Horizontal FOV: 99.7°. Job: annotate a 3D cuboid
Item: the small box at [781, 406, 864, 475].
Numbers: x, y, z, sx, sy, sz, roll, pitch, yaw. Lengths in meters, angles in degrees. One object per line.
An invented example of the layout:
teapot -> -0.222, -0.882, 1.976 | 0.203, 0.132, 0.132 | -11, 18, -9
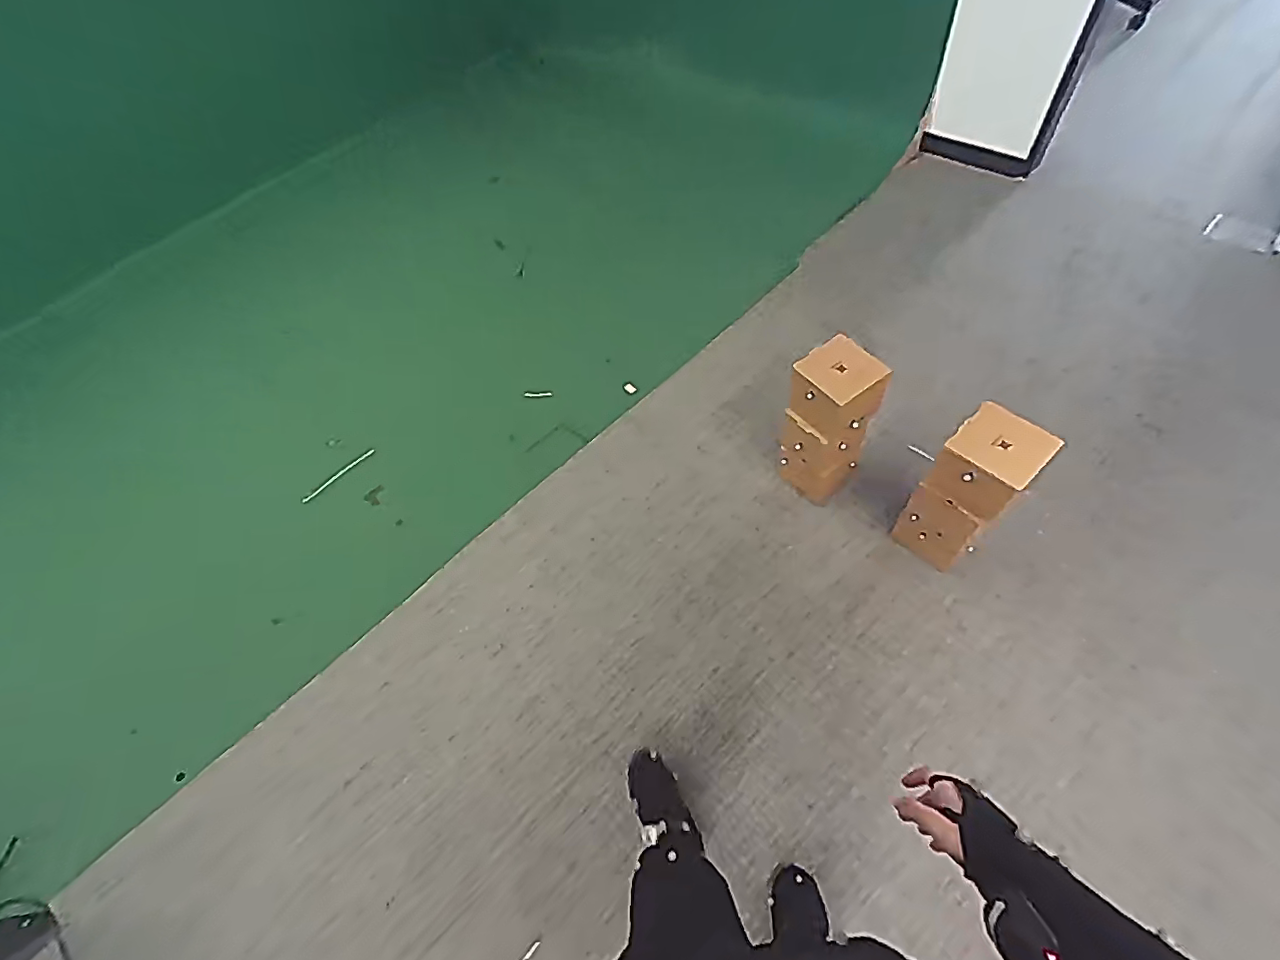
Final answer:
small box -> 0.527, -0.146, 1.557 | 0.179, 0.176, 0.168 | -35, 59, -10

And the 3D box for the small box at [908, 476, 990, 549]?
small box -> 0.814, 0.047, 1.381 | 0.179, 0.176, 0.168 | -39, 60, -13

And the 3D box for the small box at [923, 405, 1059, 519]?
small box -> 0.793, -0.032, 1.240 | 0.168, 0.176, 0.179 | -40, 60, -13

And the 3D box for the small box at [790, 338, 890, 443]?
small box -> 0.512, -0.231, 1.418 | 0.168, 0.176, 0.179 | -33, 59, -9

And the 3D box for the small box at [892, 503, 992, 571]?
small box -> 0.843, 0.126, 1.521 | 0.168, 0.176, 0.179 | -41, 60, -13
